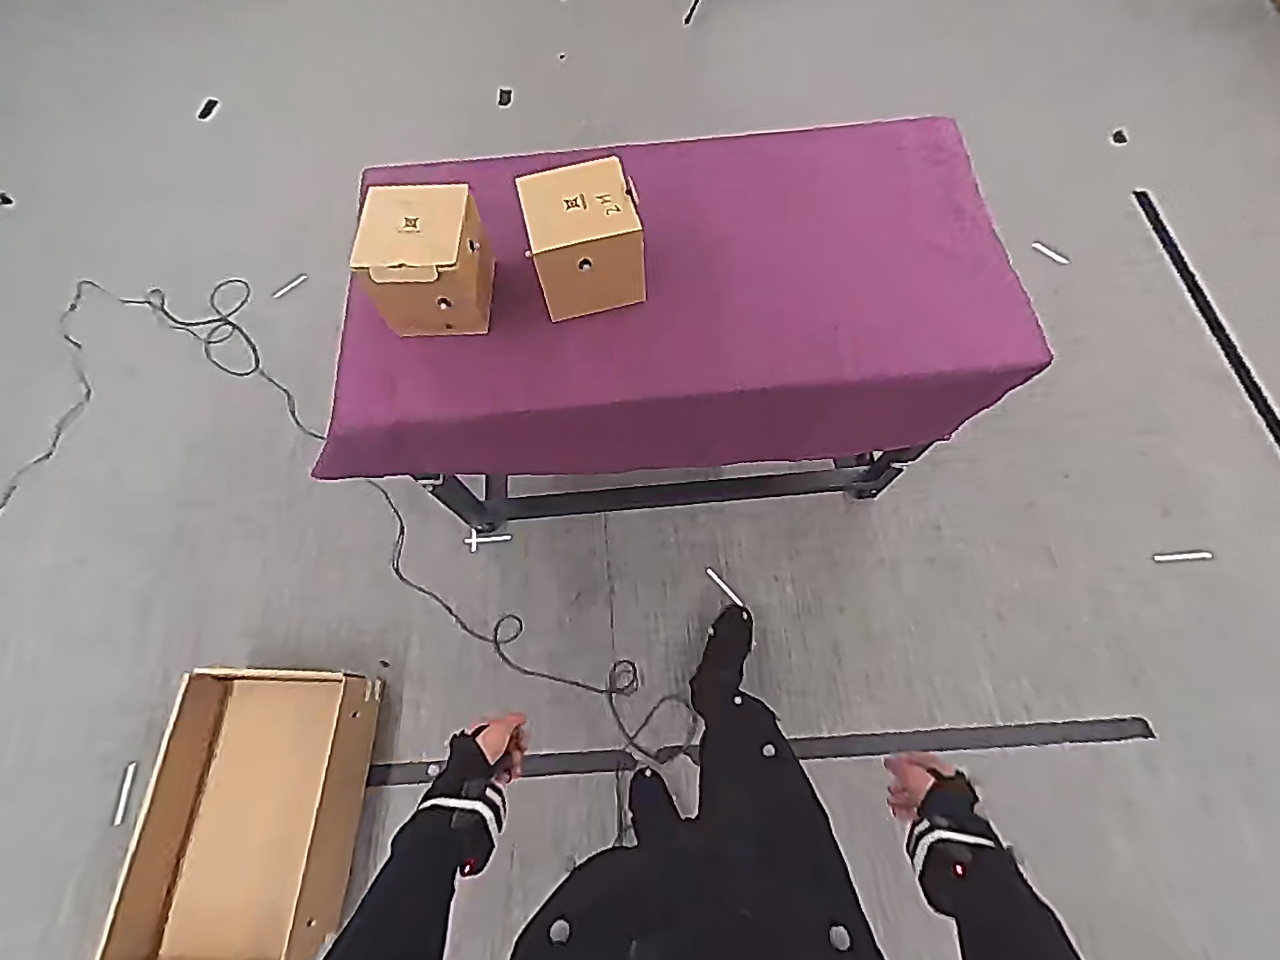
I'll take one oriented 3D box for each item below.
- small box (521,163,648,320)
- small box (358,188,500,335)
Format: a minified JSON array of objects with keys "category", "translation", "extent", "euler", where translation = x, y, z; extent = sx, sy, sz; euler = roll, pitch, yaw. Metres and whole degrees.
[{"category":"small box","translation":[-0.089,-0.400,0.928],"extent":[0.179,0.176,0.168],"euler":[-13,69,-4]},{"category":"small box","translation":[-0.347,-0.366,0.926],"extent":[0.168,0.176,0.179],"euler":[0,68,1]}]
